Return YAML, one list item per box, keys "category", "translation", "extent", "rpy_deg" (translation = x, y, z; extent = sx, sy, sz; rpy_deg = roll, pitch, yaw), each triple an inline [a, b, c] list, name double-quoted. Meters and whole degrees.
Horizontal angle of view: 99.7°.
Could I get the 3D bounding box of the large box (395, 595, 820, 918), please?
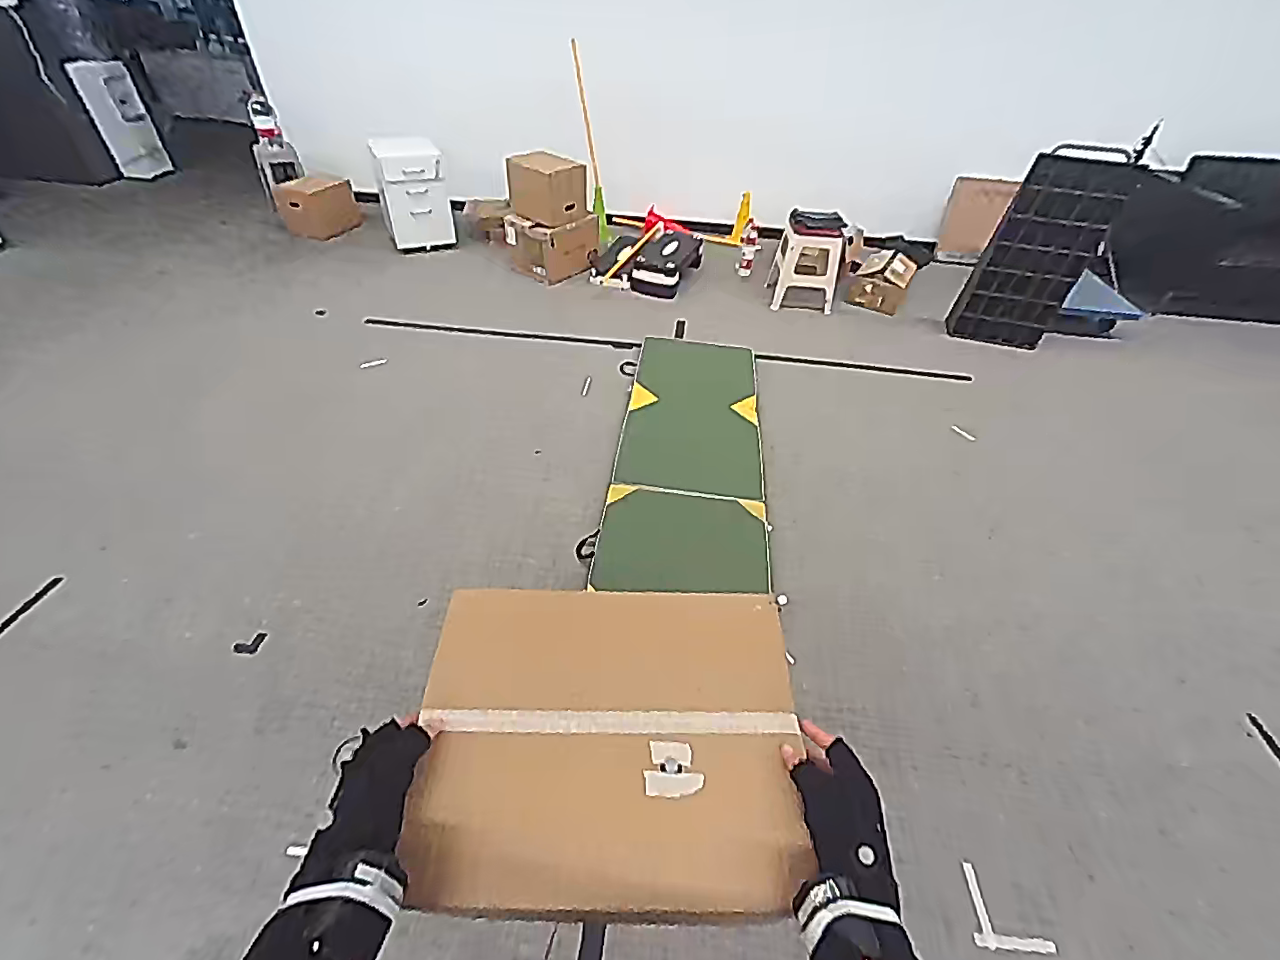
- category: "large box"
  translation: [-0.034, 0.364, 0.706]
  extent: [0.408, 0.320, 0.320]
  rpy_deg: [1, 49, 0]
